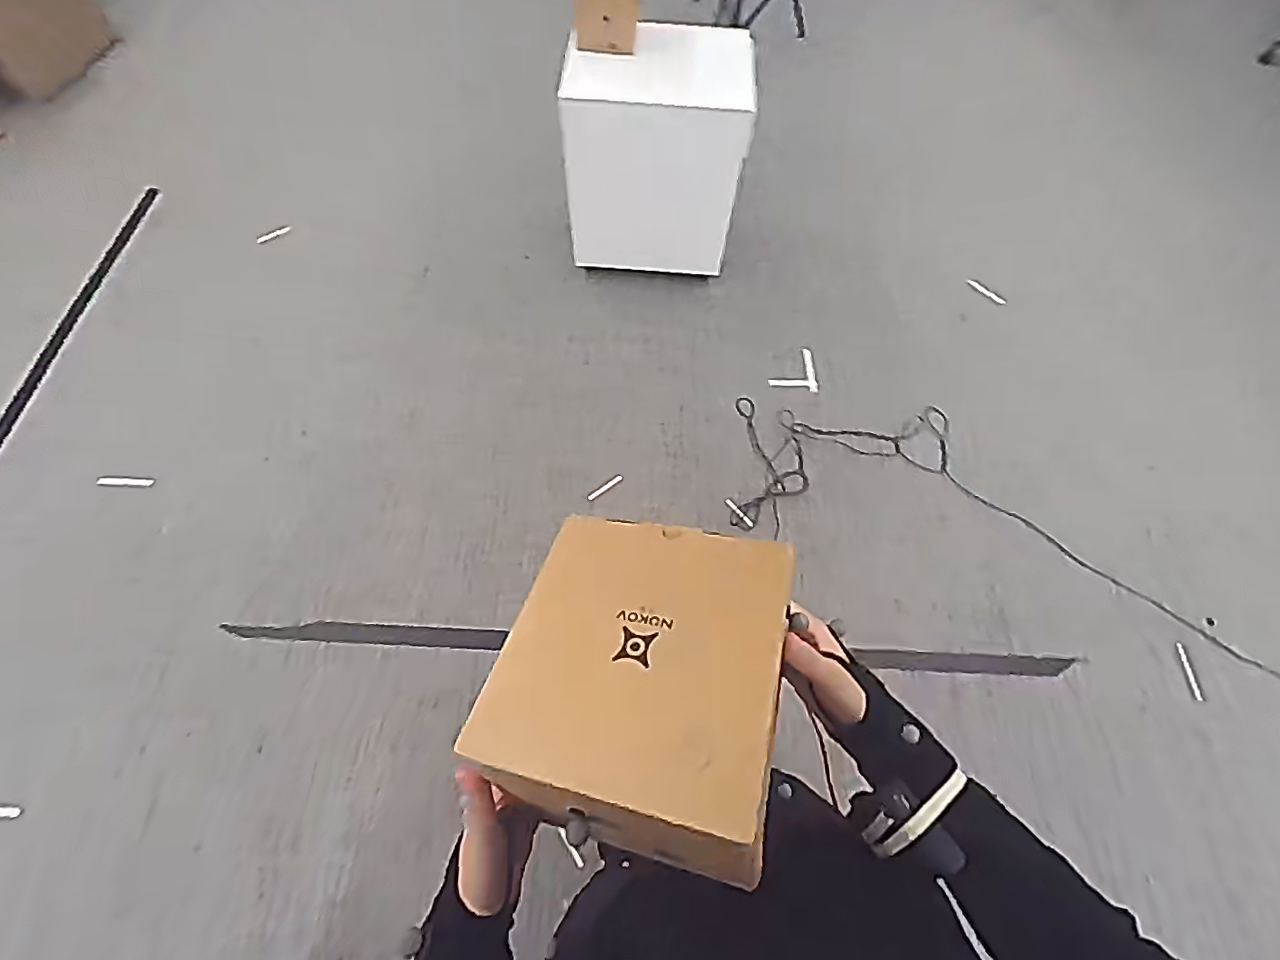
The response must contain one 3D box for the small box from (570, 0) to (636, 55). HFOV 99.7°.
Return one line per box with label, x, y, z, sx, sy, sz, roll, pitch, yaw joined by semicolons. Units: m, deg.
small box;-0.097;-1.294;1.466;0.168;0.176;0.179;4;66;-1
